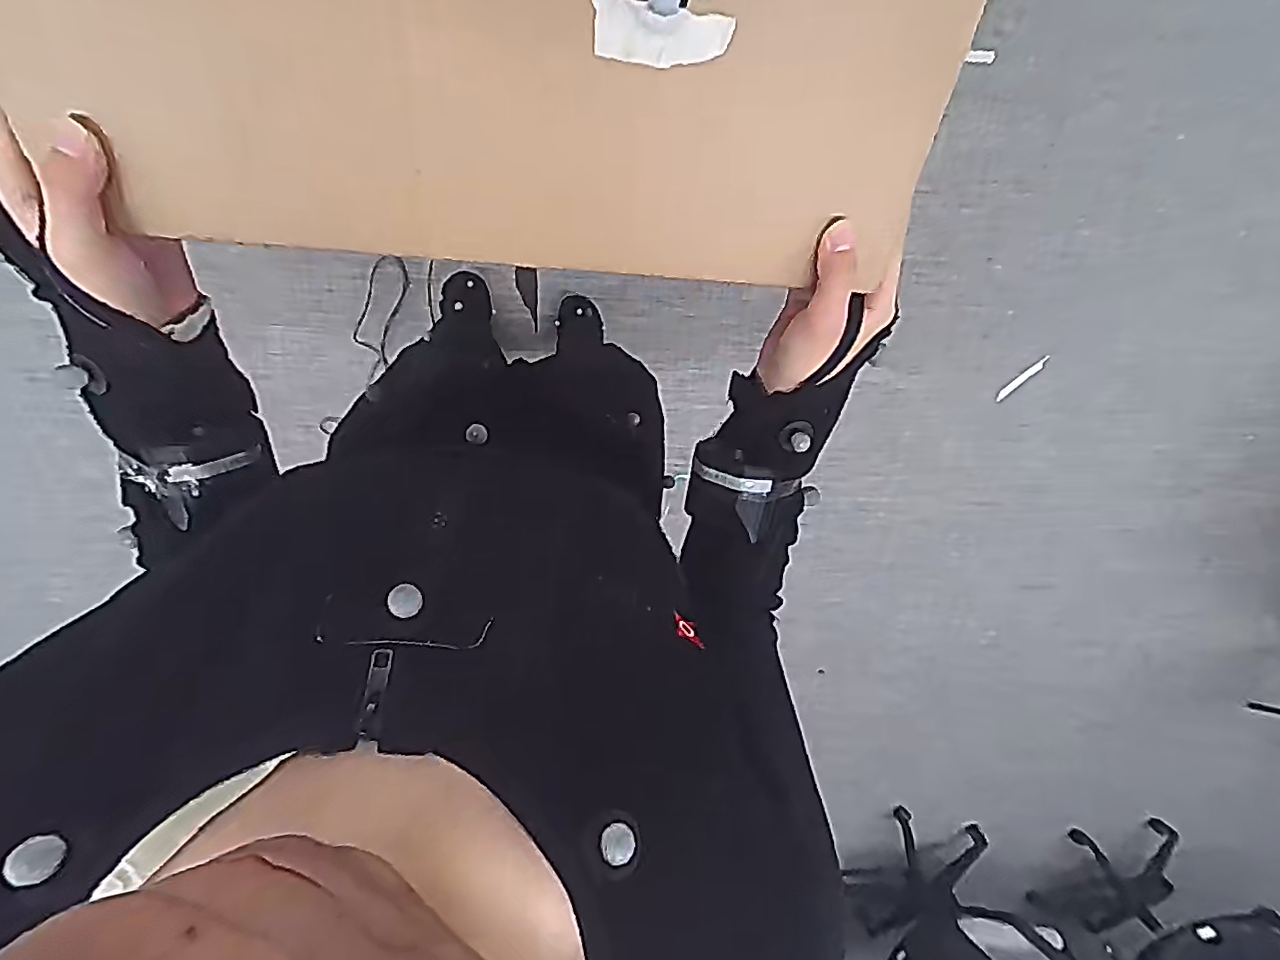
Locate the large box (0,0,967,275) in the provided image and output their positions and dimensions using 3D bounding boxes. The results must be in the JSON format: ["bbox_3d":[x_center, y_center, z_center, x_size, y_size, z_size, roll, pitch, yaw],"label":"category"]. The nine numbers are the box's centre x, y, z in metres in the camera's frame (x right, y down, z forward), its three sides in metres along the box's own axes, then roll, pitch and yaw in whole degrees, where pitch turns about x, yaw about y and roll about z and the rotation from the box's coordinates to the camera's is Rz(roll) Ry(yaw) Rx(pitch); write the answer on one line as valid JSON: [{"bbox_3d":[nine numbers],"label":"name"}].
[{"bbox_3d":[-0.065,-0.328,0.315,0.408,0.320,0.320,1,127,-8],"label":"large box"}]
